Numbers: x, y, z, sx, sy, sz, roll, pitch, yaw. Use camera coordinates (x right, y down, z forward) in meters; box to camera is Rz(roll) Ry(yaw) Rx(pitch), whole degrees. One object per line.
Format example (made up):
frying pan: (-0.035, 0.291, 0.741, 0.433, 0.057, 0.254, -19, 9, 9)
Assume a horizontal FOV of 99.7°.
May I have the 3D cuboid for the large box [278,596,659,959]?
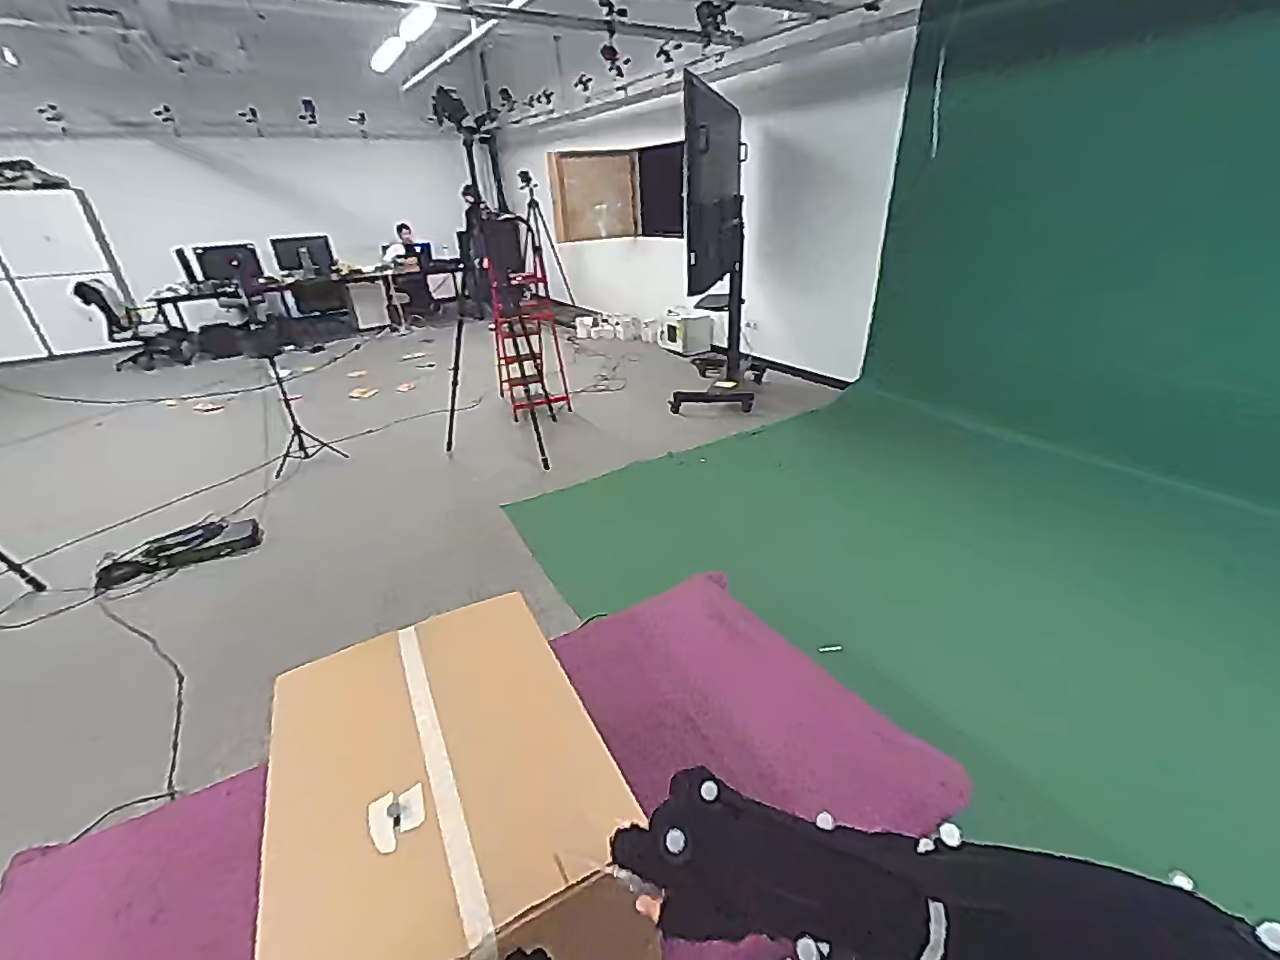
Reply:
large box: (-0.209, 0.416, 0.653, 0.320, 0.320, 0.408, -16, 31, -24)
